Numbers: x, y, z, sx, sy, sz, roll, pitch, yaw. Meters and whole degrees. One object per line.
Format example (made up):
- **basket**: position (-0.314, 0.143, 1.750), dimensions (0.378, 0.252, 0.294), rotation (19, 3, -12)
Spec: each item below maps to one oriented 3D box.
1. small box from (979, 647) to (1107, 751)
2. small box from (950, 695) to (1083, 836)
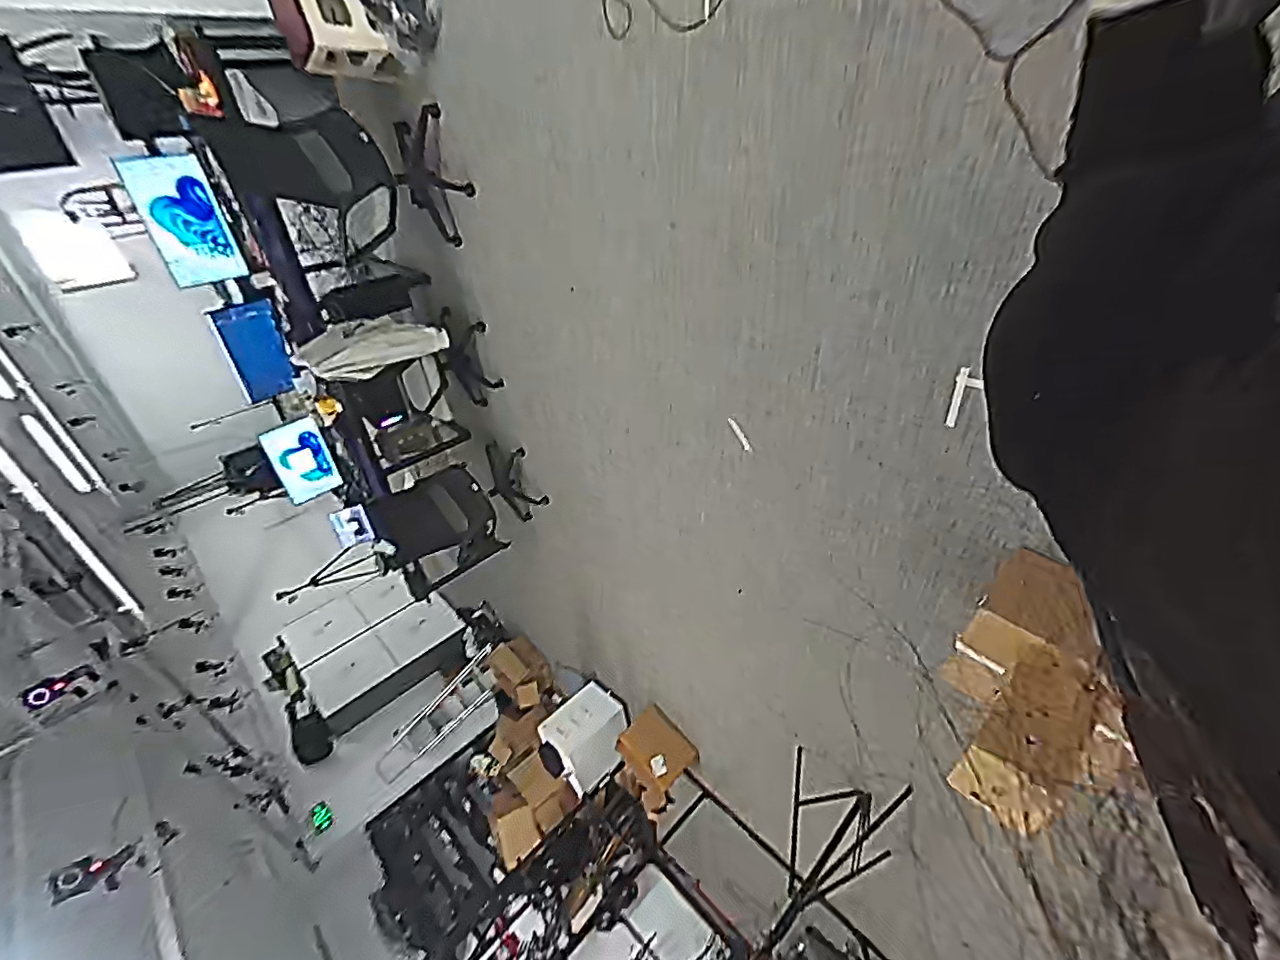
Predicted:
- **small box**: position (0.927, 0.523, 1.243), dimensions (0.168, 0.176, 0.179), rotation (35, 141, 32)
- **small box**: position (0.810, 0.603, 1.160), dimensions (0.168, 0.176, 0.179), rotation (33, 138, 35)
